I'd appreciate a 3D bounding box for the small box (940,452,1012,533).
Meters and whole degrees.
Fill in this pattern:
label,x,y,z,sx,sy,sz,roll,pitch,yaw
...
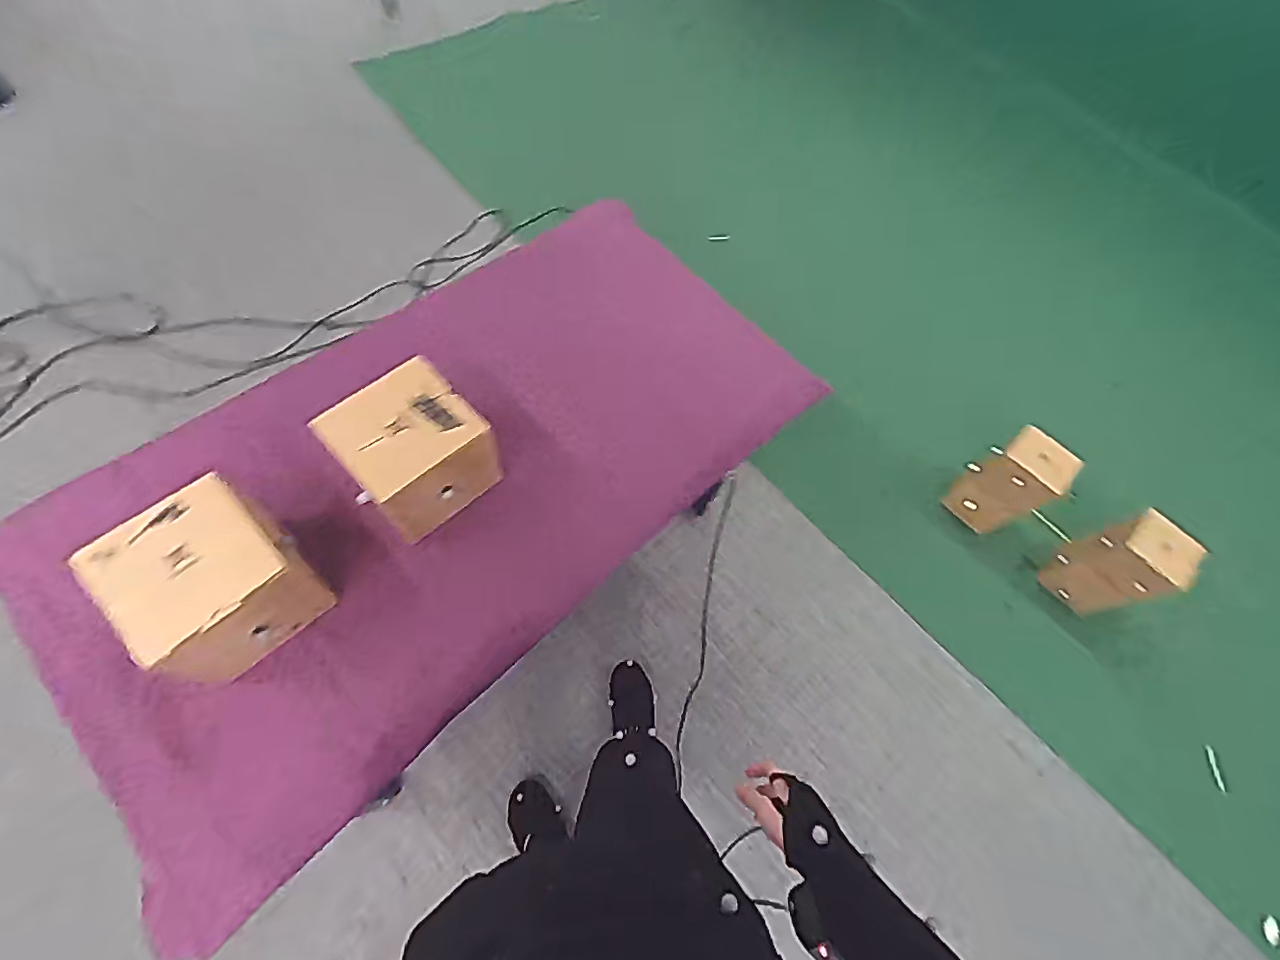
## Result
label,x,y,z,sx,sy,sz,roll,pitch,yaw
small box,1.134,0.046,1.787,0.179,0.176,0.168,-40,75,-24

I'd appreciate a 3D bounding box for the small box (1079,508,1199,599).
label,x,y,z,sx,sy,sz,roll,pitch,yaw
small box,1.426,0.217,1.558,0.179,0.176,0.168,-40,76,-22

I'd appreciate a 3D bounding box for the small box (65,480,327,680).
label,x,y,z,sx,sy,sz,roll,pitch,yaw
small box,-0.548,0.137,0.697,0.179,0.176,0.168,44,66,13

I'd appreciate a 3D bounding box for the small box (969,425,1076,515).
label,x,y,z,sx,sy,sz,roll,pitch,yaw
small box,1.149,-0.025,1.640,0.168,0.176,0.179,-40,75,-23

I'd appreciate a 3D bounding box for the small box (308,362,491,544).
label,x,y,z,sx,sy,sz,roll,pitch,yaw
small box,-0.342,-0.035,0.810,0.168,0.176,0.179,43,67,13
